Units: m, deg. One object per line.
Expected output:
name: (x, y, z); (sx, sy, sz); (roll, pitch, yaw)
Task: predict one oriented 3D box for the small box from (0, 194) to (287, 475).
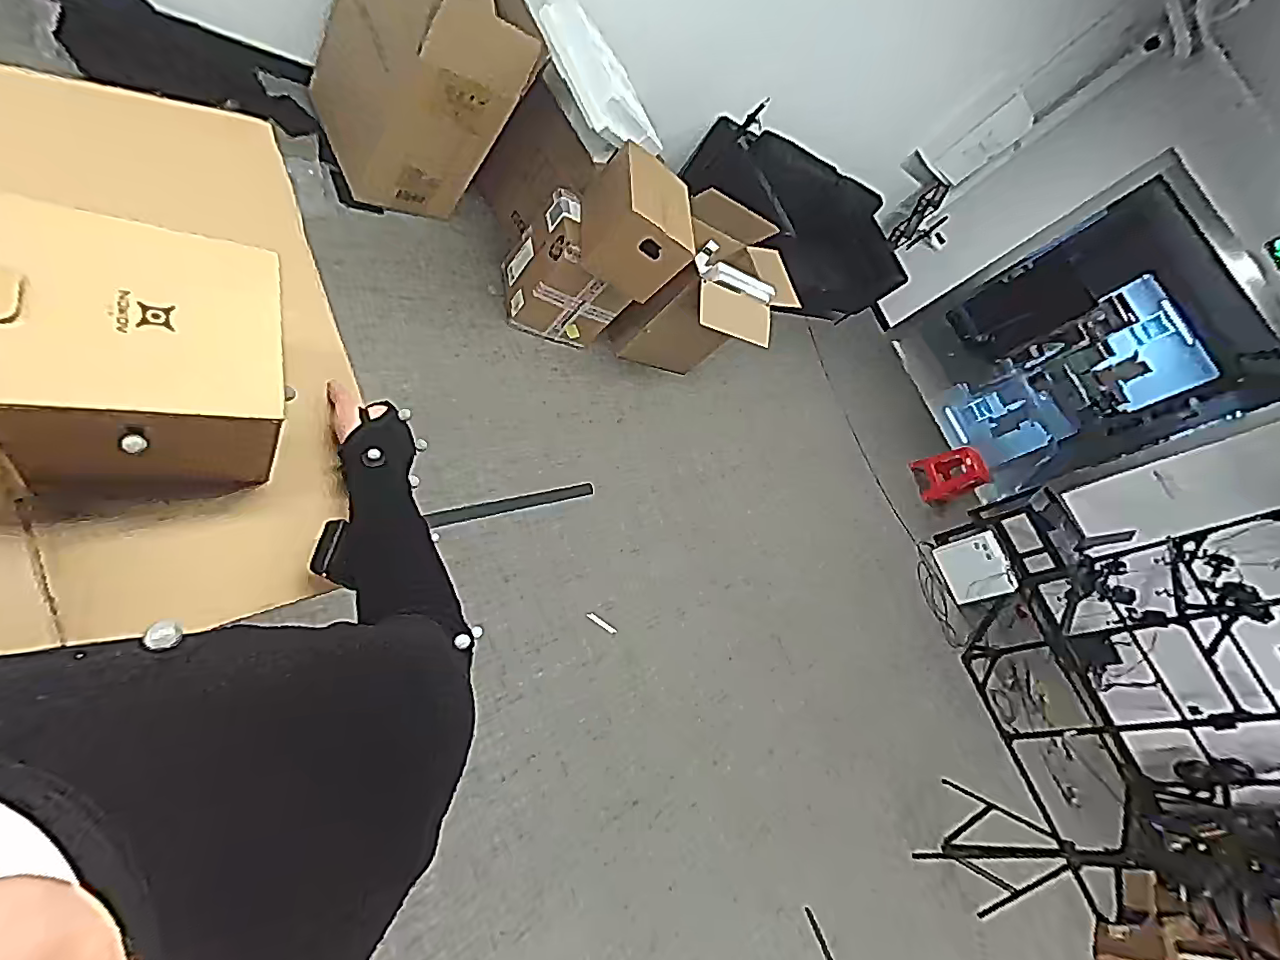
small box: (-0.432, -0.108, 0.486); (0.179, 0.176, 0.168); (0, 72, -38)
